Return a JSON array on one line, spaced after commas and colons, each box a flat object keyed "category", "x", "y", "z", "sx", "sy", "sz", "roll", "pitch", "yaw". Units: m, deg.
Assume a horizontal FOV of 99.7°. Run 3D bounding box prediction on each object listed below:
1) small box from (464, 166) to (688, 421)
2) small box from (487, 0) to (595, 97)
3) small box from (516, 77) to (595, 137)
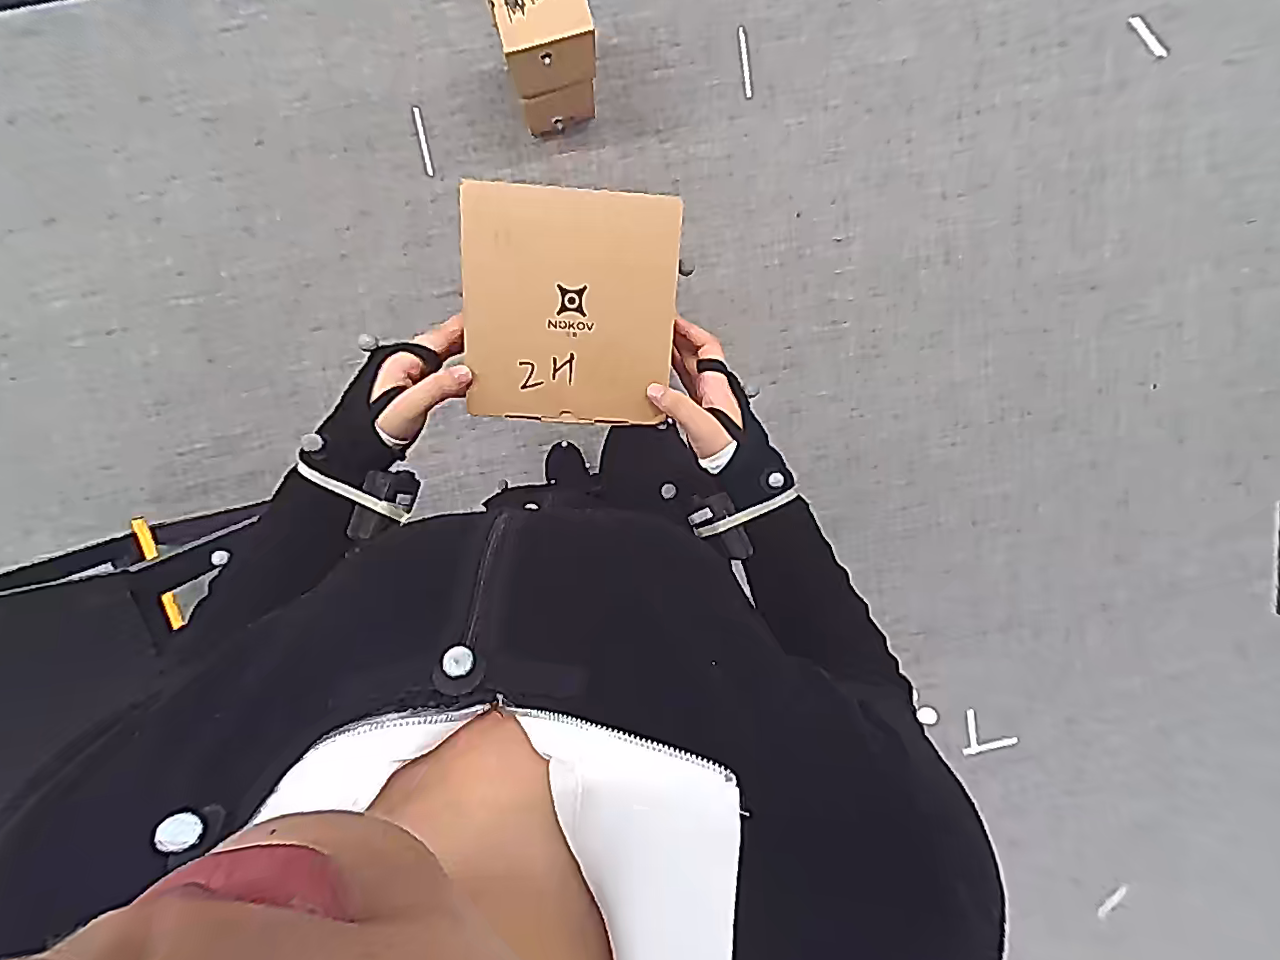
[{"category": "small box", "x": -0.057, "y": -0.160, "z": 0.491, "sx": 0.168, "sy": 0.176, "sz": 0.179, "roll": 3, "pitch": 108, "yaw": -4}, {"category": "small box", "x": -0.192, "y": -0.888, "z": 1.053, "sx": 0.179, "sy": 0.176, "sz": 0.168, "roll": -15, "pitch": 101, "yaw": 0}, {"category": "small box", "x": -0.205, "y": -0.916, "z": 1.215, "sx": 0.168, "sy": 0.176, "sz": 0.179, "roll": -17, "pitch": 102, "yaw": 1}]
